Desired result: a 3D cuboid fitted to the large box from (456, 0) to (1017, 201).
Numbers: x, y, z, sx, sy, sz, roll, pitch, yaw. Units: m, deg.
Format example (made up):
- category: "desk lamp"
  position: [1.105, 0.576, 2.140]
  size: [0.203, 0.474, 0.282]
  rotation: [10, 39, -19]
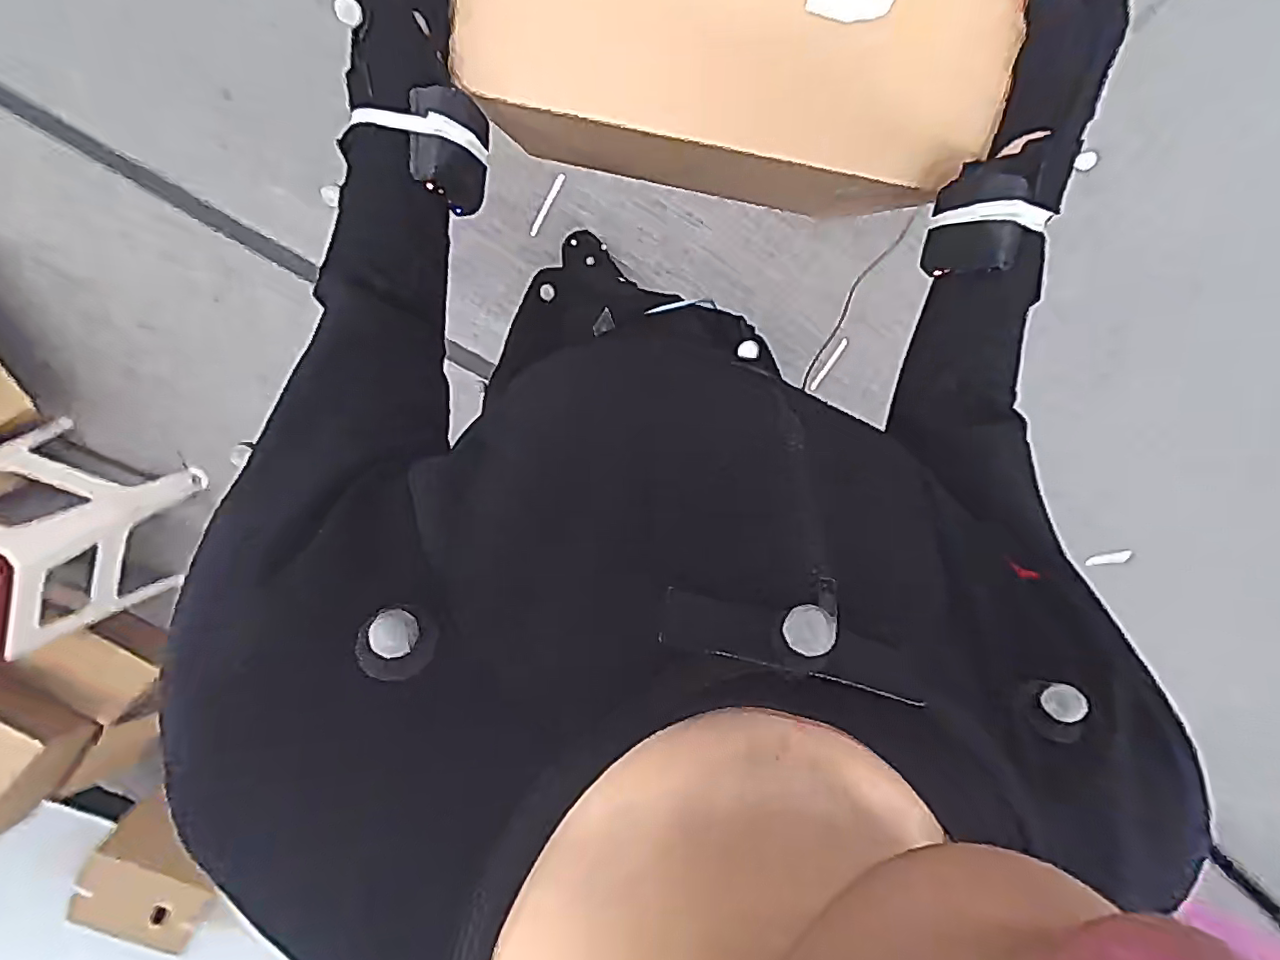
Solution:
- category: "large box"
  position: [0.076, -0.465, 0.491]
  size: [0.408, 0.320, 0.320]
  rotation: [8, 114, -5]
